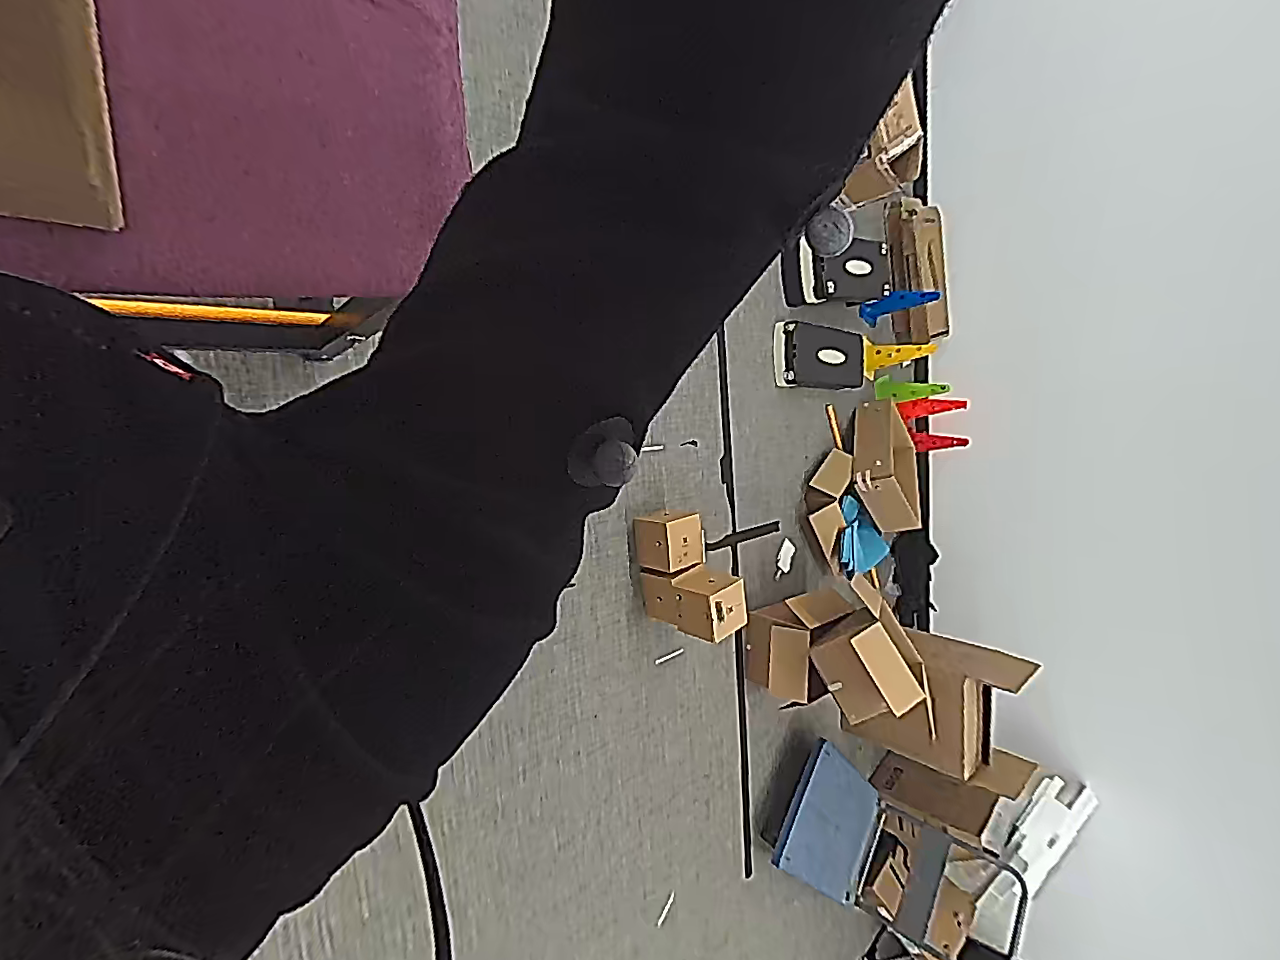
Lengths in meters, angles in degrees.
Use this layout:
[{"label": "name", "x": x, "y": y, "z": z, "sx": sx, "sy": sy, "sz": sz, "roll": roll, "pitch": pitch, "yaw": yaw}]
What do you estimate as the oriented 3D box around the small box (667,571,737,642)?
[{"label": "small box", "x": 0.204, "y": 0.420, "z": 1.826, "sx": 0.179, "sy": 0.176, "sz": 0.168, "roll": -17, "pitch": 104, "yaw": -41}]
